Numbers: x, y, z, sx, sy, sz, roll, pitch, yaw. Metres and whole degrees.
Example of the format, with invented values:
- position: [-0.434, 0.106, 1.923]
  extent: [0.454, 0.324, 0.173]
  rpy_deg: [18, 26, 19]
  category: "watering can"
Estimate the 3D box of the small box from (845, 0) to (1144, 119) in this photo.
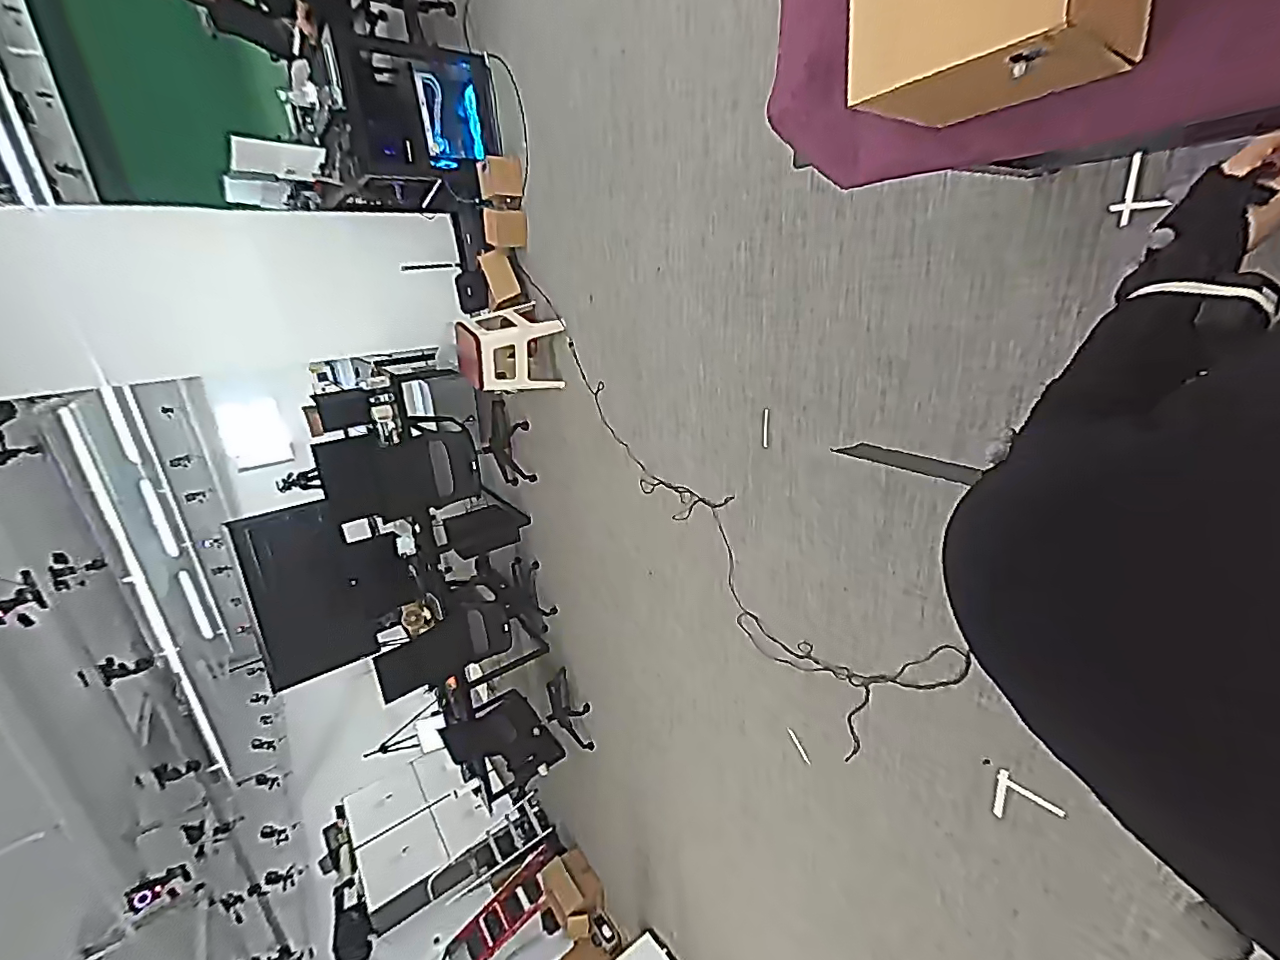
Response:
- position: [0.304, -0.437, 0.465]
  extent: [0.179, 0.176, 0.168]
  rpy_deg: [17, 118, 51]
  category: "small box"
